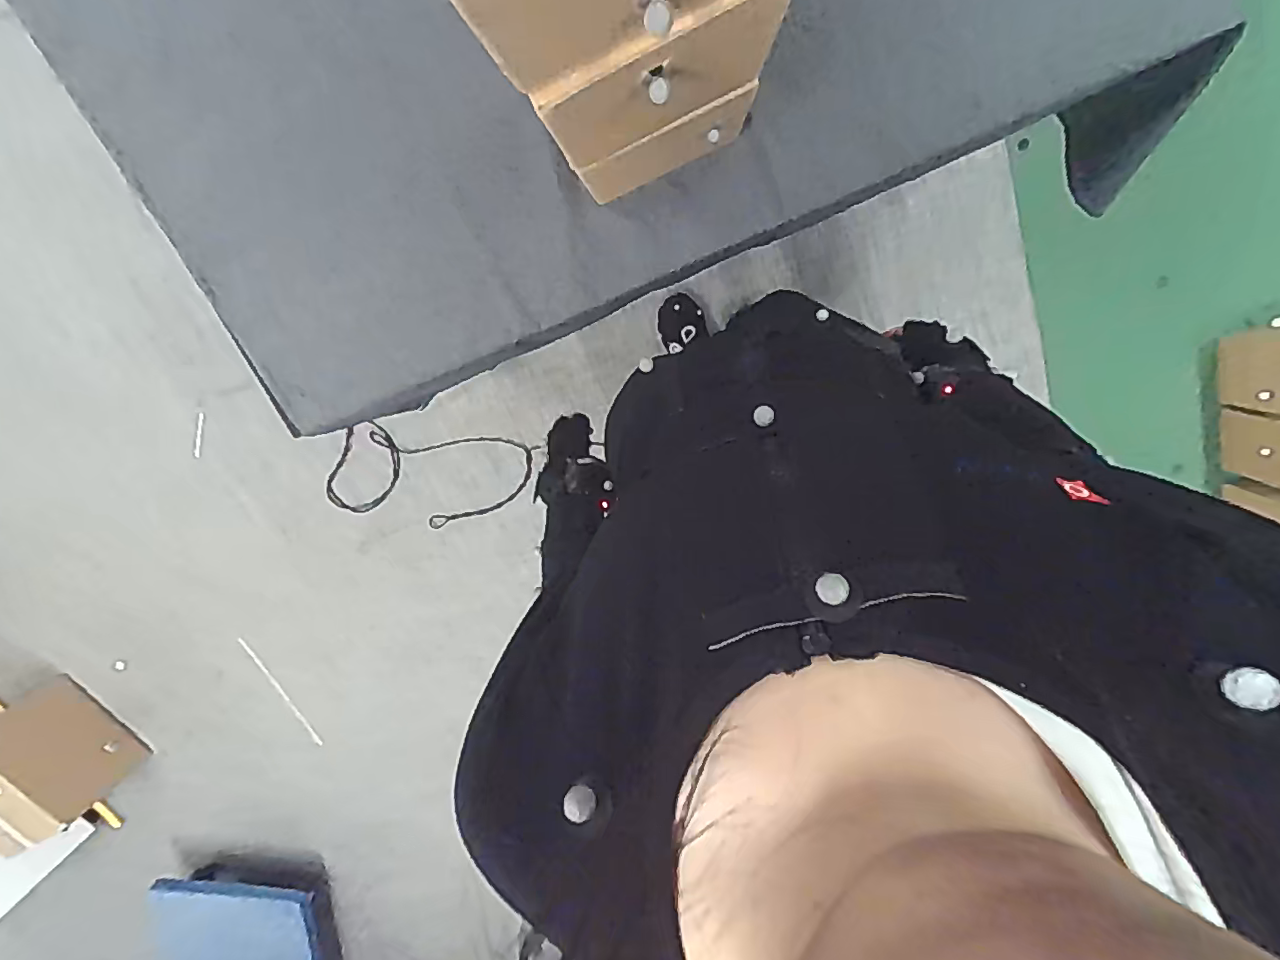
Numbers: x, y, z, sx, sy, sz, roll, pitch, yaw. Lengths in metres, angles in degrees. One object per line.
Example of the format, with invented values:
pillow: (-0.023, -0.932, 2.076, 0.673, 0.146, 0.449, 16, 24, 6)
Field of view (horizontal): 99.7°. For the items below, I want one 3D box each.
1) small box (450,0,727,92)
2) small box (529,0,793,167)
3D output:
small box: (-0.026, -0.310, 0.225, 0.179, 0.176, 0.168, -20, 106, 9)
small box: (-0.012, -0.356, 0.382, 0.179, 0.176, 0.168, -22, 105, 10)
